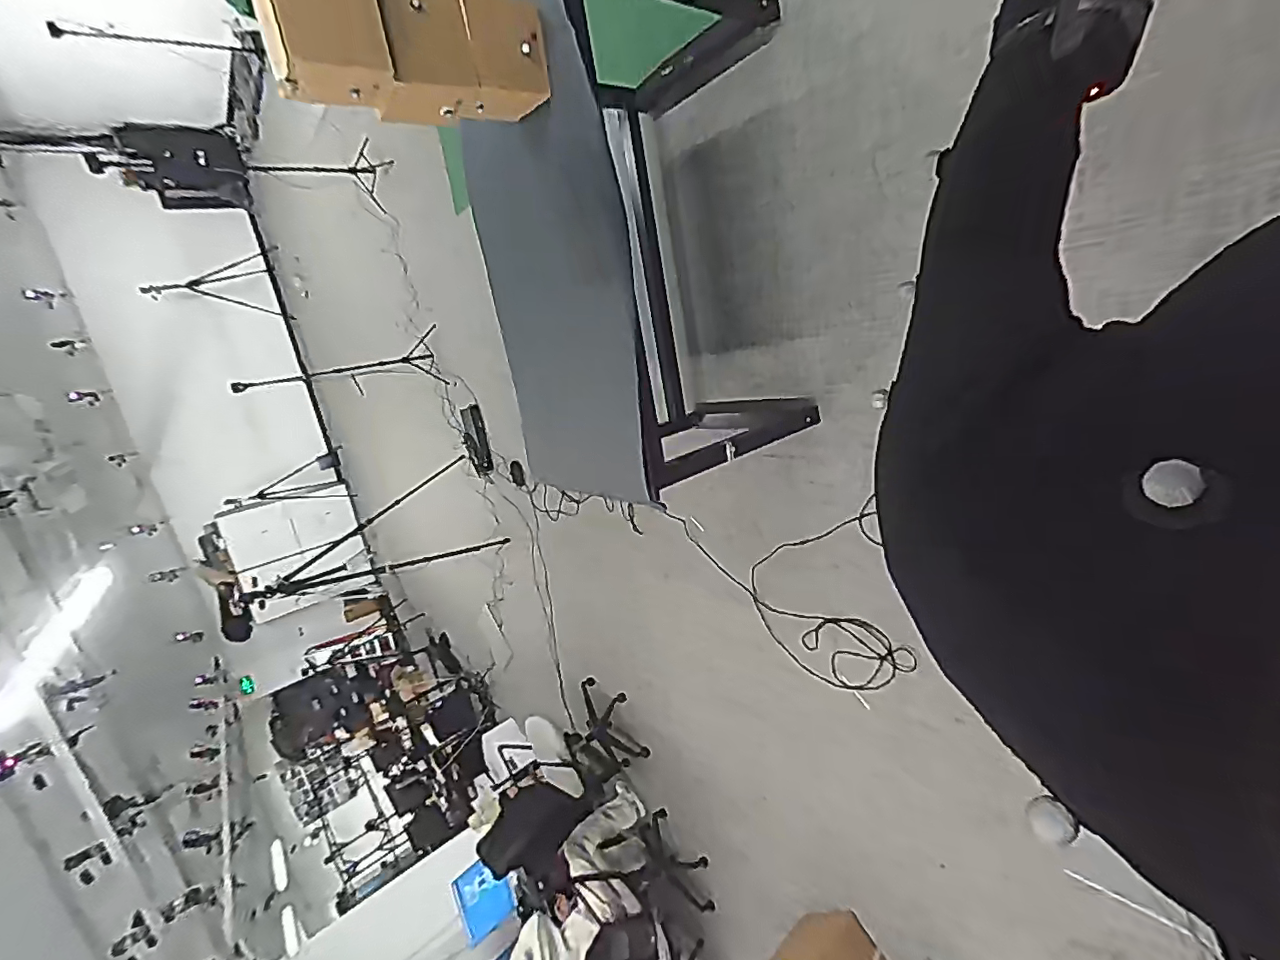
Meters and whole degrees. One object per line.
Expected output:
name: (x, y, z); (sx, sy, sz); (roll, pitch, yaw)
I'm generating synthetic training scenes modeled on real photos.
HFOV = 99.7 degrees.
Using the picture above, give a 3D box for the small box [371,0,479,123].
small box: (-0.439, -0.828, 1.056); (0.168, 0.176, 0.179); (7, 115, 55)

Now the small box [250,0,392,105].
small box: (-0.558, -0.789, 0.945); (0.168, 0.176, 0.179); (15, 120, 53)

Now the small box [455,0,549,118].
small box: (-0.315, -0.886, 1.142); (0.179, 0.176, 0.168); (17, 122, 50)
